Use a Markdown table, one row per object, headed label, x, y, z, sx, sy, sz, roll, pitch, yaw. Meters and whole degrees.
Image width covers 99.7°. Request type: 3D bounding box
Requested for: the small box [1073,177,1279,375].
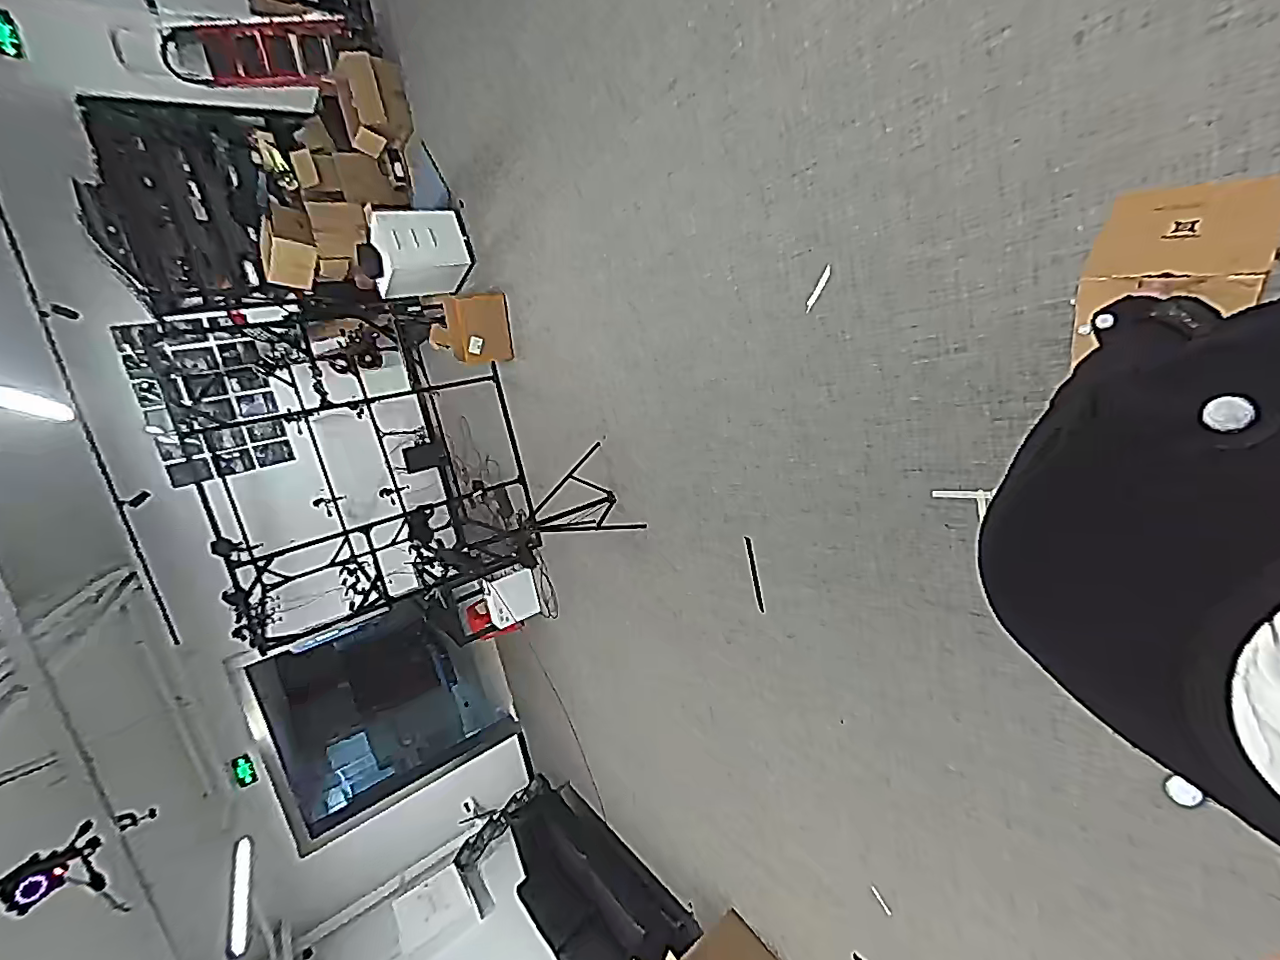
| label | x | y | z | sx | sy | sz | roll | pitch | yaw |
| --- | --- | --- | --- | --- | --- | --- | --- | --- | --- |
| small box | 0.701 | -0.261 | 0.717 | 0.168 | 0.179 | 0.176 | 19 | 157 | 42 |
